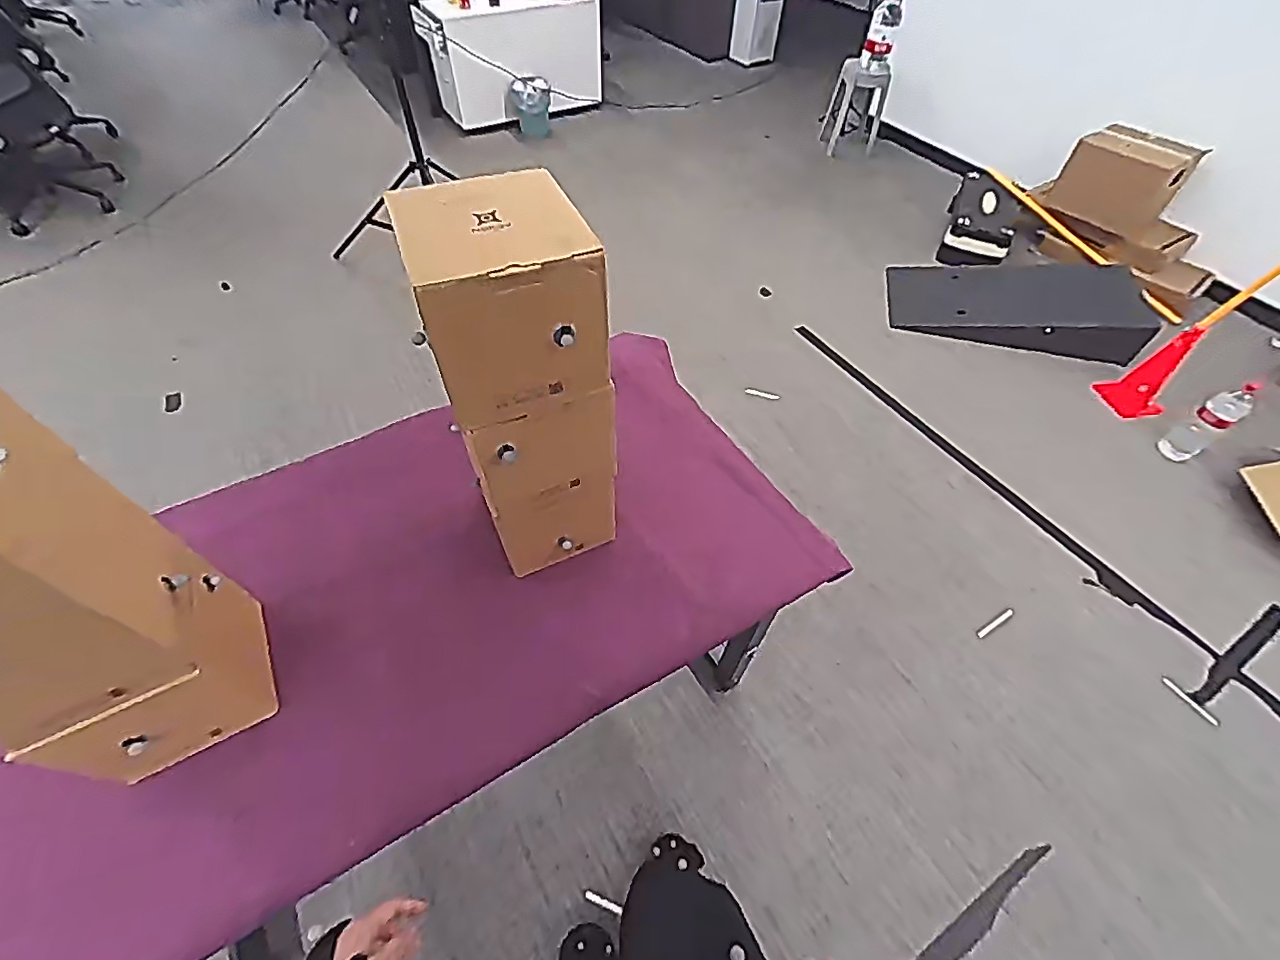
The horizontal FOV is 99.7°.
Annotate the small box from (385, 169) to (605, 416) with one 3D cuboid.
[{"bbox_3d":[-0.139,-0.186,0.556,0.168,0.176,0.179,-18,54,-17],"label":"small box"}]

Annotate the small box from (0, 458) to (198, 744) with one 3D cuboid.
[{"bbox_3d":[-0.568,0.116,0.517,0.168,0.176,0.179,-25,57,-19],"label":"small box"}]

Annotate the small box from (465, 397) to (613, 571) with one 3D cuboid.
[{"bbox_3d":[-0.148,0.006,0.820,0.168,0.176,0.179,-21,56,-16],"label":"small box"}]

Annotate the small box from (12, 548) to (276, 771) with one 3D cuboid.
[{"bbox_3d":[-0.569,0.219,0.644,0.168,0.176,0.179,-24,57,-19],"label":"small box"}]
